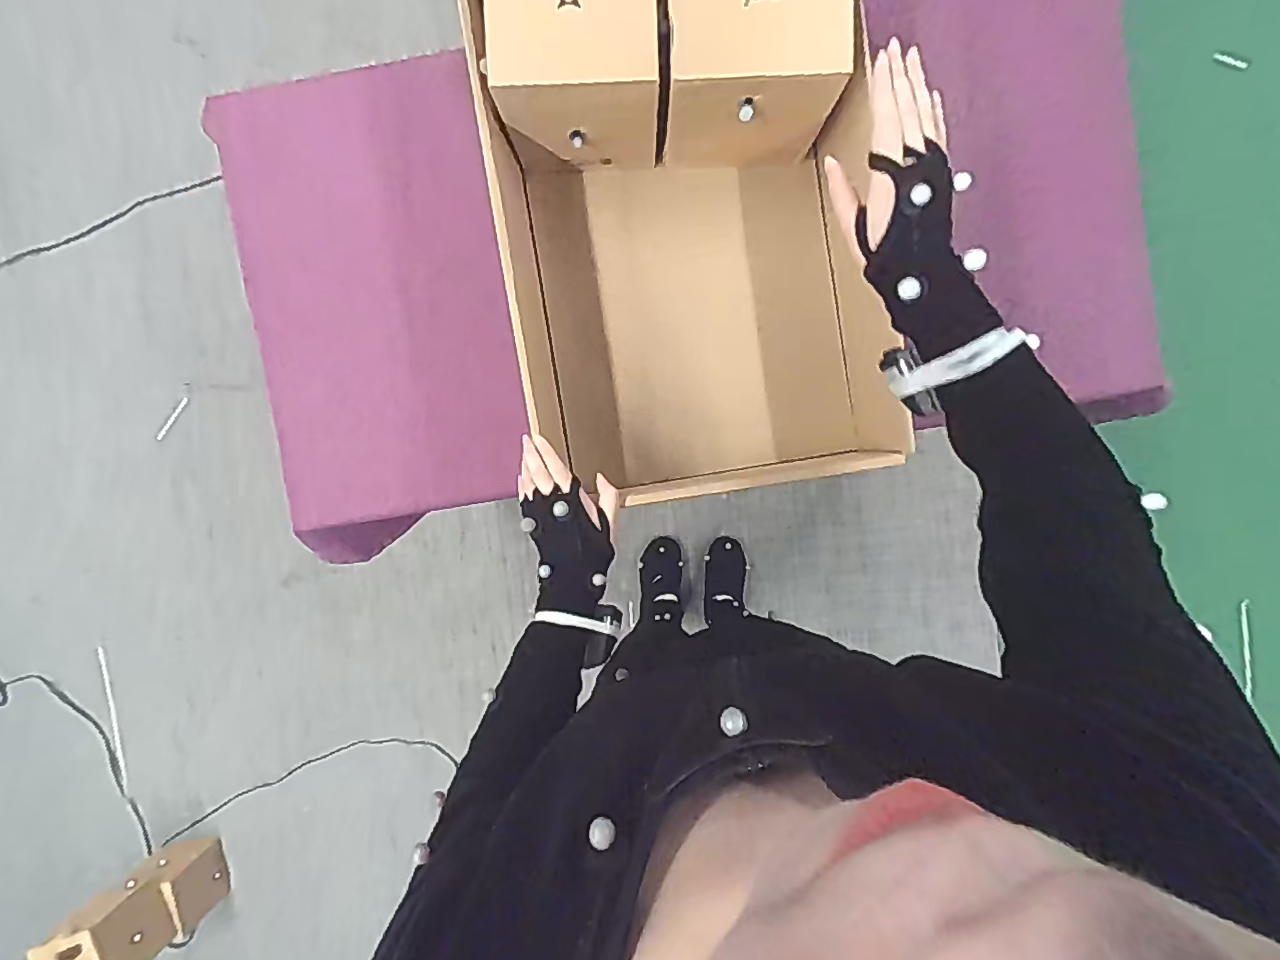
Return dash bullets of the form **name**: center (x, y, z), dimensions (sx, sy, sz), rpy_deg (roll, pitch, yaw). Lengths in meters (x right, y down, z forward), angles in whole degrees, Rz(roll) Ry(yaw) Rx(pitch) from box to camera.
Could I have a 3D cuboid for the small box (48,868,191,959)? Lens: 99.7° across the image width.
- **small box**: center (-1.302, 1.126, 1.365), dimensions (0.168, 0.176, 0.179), rpy_deg (-20, 93, 4)
